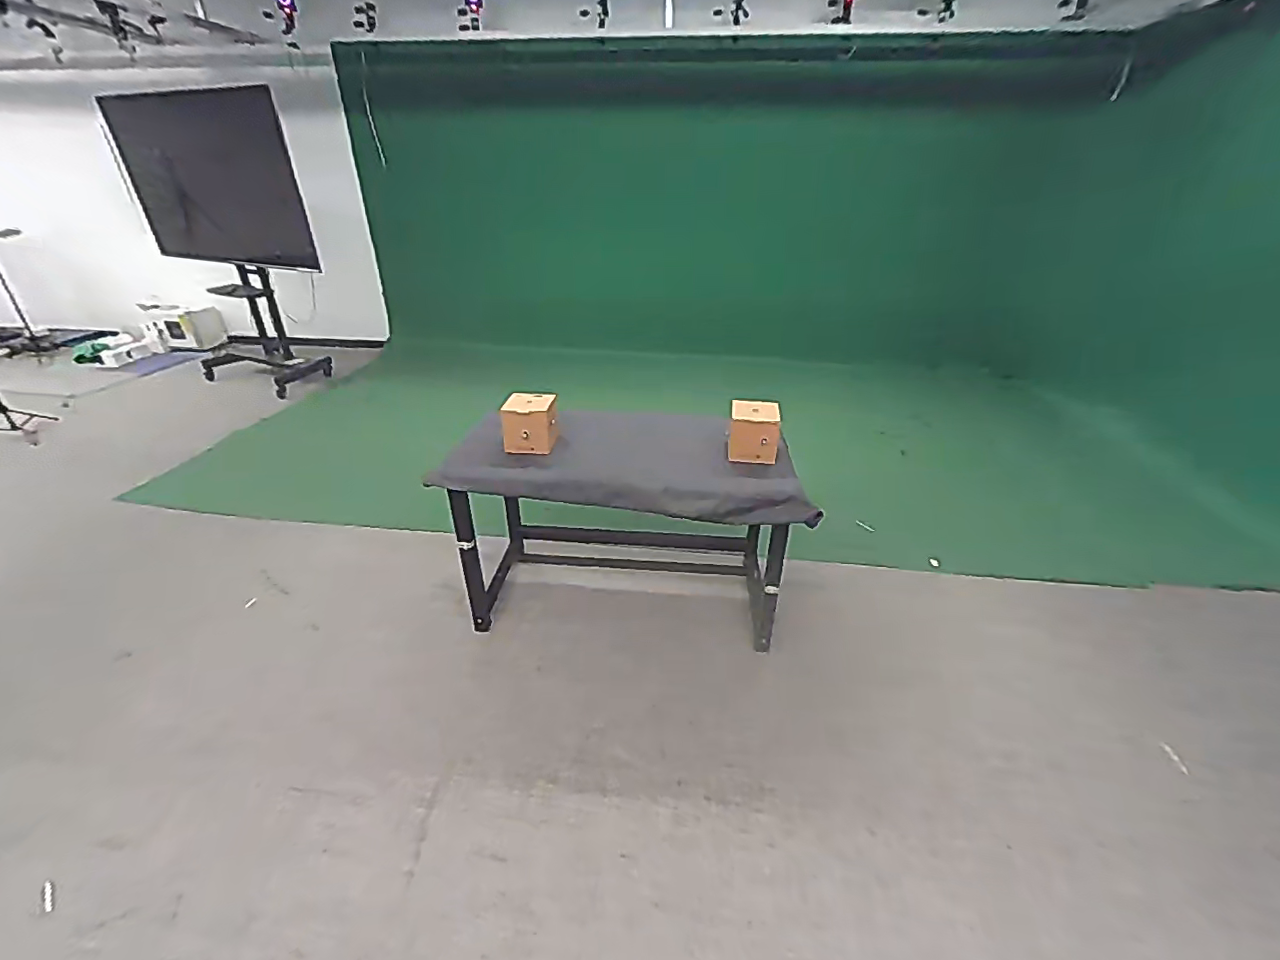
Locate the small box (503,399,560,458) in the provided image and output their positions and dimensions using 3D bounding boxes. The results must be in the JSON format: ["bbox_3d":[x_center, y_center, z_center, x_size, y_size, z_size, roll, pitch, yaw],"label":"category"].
[{"bbox_3d":[-0.396,-0.191,2.011,0.168,0.176,0.179,3,29,3],"label":"small box"}]

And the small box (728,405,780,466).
[{"bbox_3d":[0.409,-0.161,1.956,0.168,0.176,0.179,5,28,7],"label":"small box"}]
